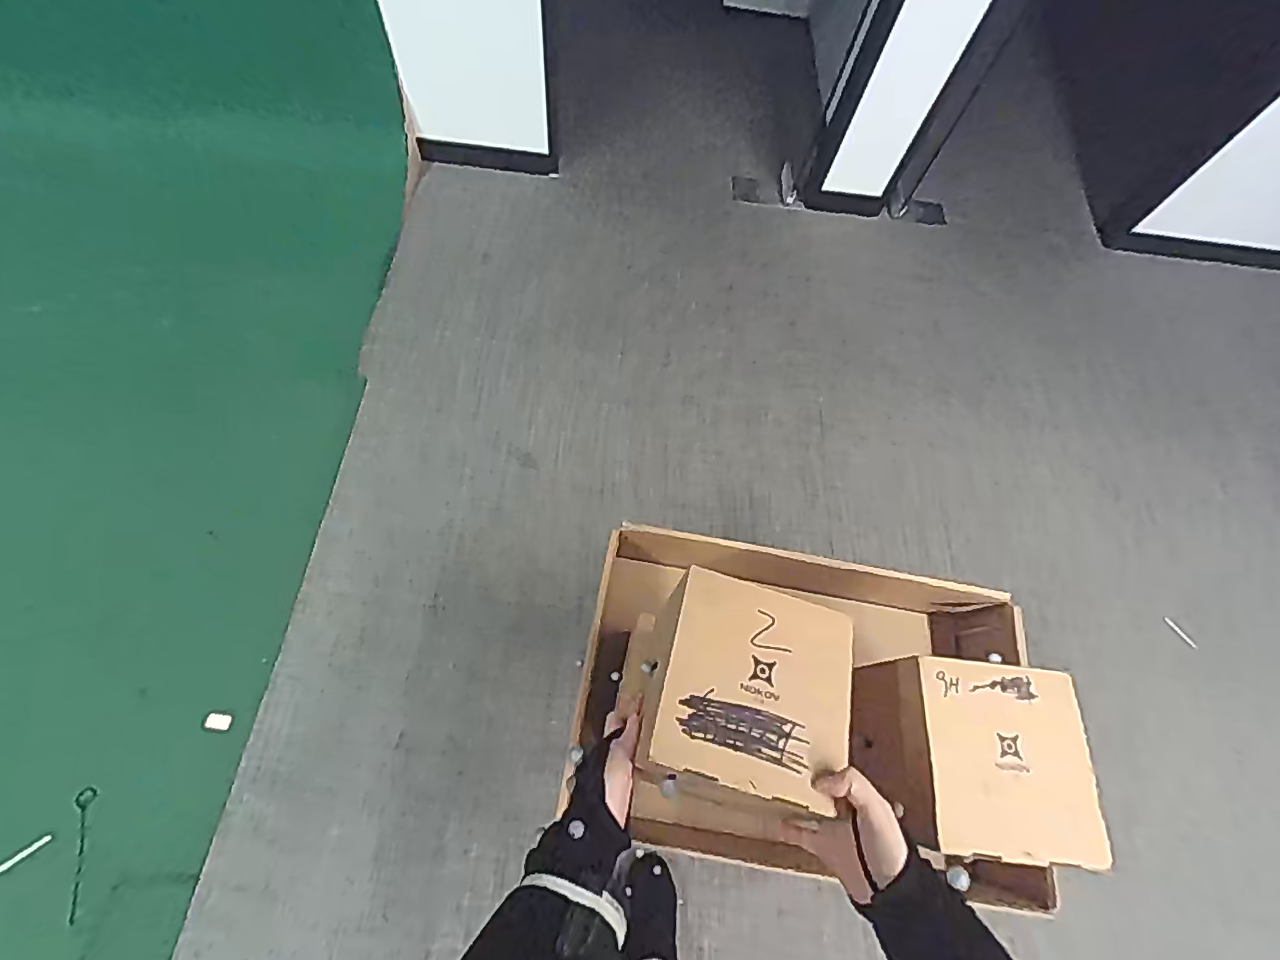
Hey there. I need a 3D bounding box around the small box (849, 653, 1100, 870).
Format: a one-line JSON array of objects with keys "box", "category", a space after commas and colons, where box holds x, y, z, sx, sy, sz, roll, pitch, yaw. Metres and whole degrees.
[{"box": [0.348, 0.300, 0.603, 0.168, 0.176, 0.179, 9, 67, -3], "category": "small box"}]
